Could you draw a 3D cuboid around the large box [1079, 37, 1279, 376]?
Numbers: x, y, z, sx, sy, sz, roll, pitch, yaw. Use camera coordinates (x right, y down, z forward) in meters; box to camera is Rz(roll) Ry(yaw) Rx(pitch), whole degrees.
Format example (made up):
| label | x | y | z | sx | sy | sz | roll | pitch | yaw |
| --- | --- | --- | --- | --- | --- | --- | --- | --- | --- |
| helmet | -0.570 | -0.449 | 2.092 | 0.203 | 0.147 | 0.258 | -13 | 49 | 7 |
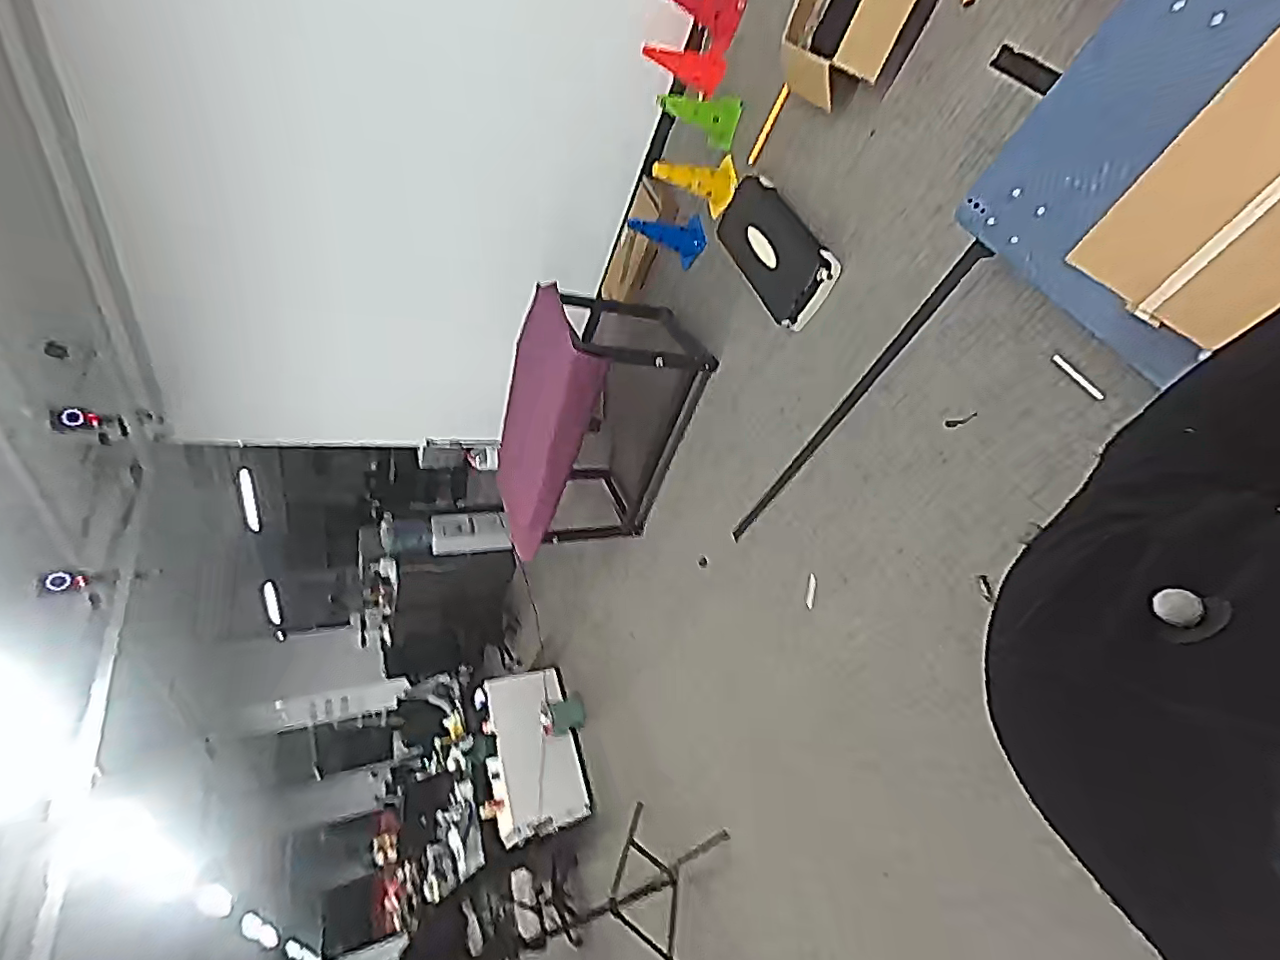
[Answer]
| label | x | y | z | sx | sy | sz | roll | pitch | yaw |
| --- | --- | --- | --- | --- | --- | --- | --- | --- | --- |
| large box | 0.975 | -0.388 | 0.758 | 0.408 | 0.320 | 0.320 | -62 | 41 | 39 |
